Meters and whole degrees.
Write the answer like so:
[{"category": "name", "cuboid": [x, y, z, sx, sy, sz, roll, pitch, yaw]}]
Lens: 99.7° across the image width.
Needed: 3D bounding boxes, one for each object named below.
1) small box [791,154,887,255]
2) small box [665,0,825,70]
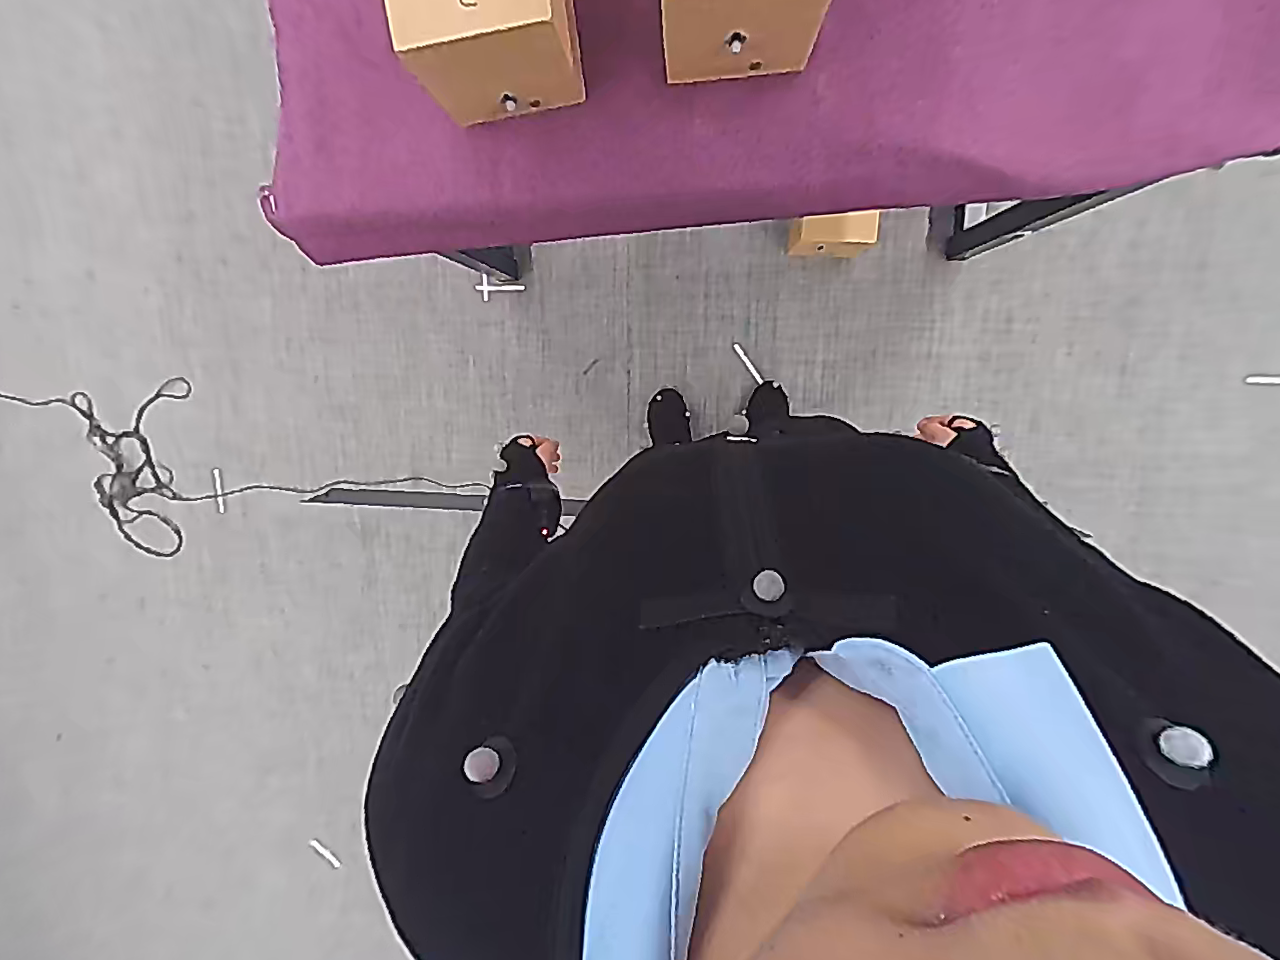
[{"category": "small box", "cuboid": [0.453, -0.634, 1.263, 0.168, 0.176, 0.179, 4, 101, 5]}, {"category": "small box", "cuboid": [0.108, -0.561, 0.561, 0.168, 0.176, 0.179, -2, 100, 5]}]
